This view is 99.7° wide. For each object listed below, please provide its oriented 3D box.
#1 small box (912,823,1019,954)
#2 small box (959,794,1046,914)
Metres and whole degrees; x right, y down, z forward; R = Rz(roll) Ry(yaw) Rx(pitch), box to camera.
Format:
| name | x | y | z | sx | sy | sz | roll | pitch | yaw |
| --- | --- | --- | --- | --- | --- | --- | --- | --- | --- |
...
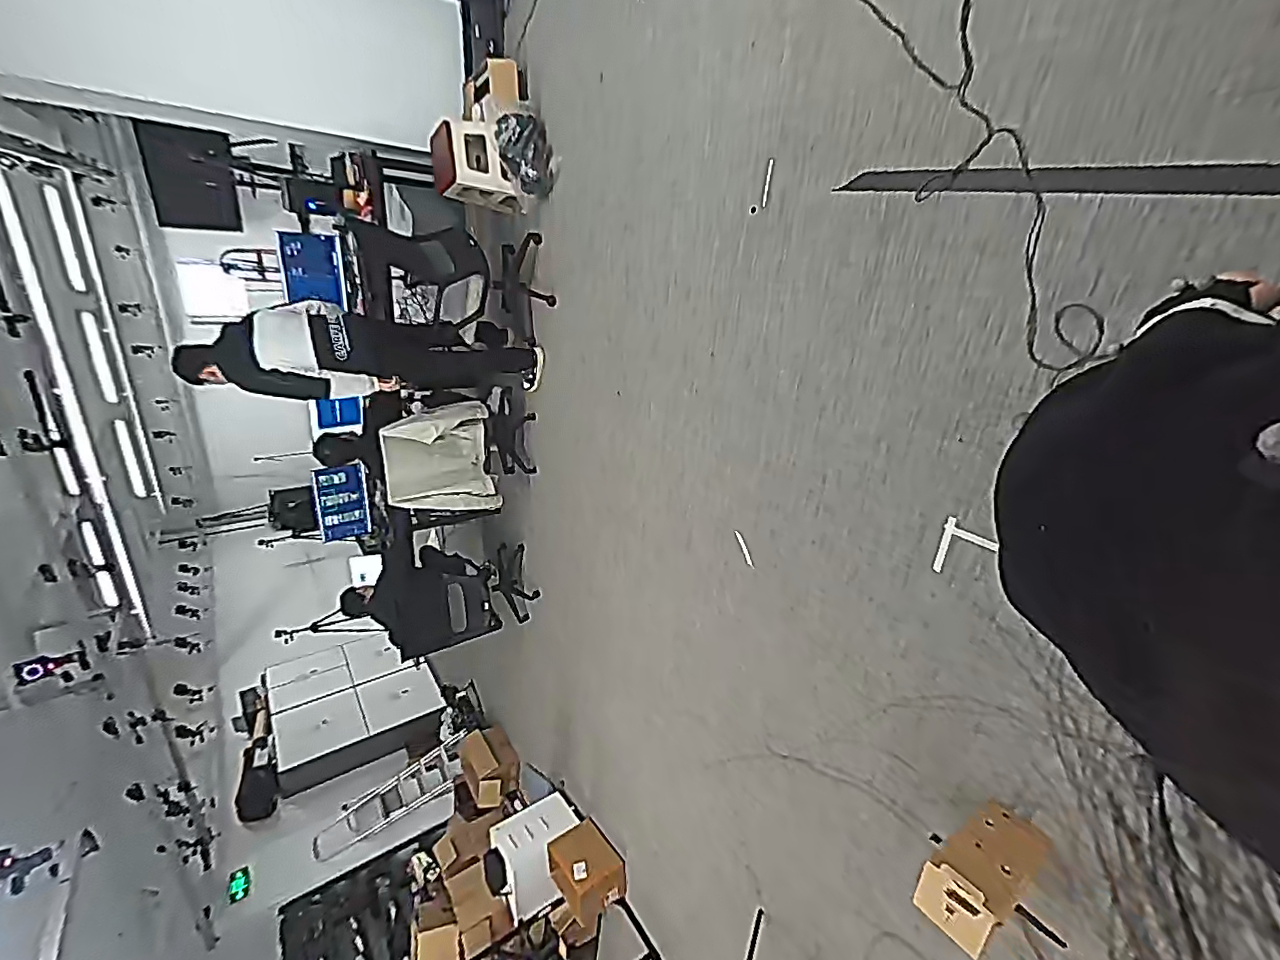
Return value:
| name | x | y | z | sx | sy | sz | roll | pitch | yaw |
| --- | --- | --- | --- | --- | --- | --- | --- | --- | --- |
| small box | 0.842 | 1.041 | 1.396 | 0.168 | 0.176 | 0.179 | 29 | 123 | 48 |
| small box | 0.978 | 1.015 | 1.486 | 0.168 | 0.176 | 0.179 | 28 | 123 | 49 |
